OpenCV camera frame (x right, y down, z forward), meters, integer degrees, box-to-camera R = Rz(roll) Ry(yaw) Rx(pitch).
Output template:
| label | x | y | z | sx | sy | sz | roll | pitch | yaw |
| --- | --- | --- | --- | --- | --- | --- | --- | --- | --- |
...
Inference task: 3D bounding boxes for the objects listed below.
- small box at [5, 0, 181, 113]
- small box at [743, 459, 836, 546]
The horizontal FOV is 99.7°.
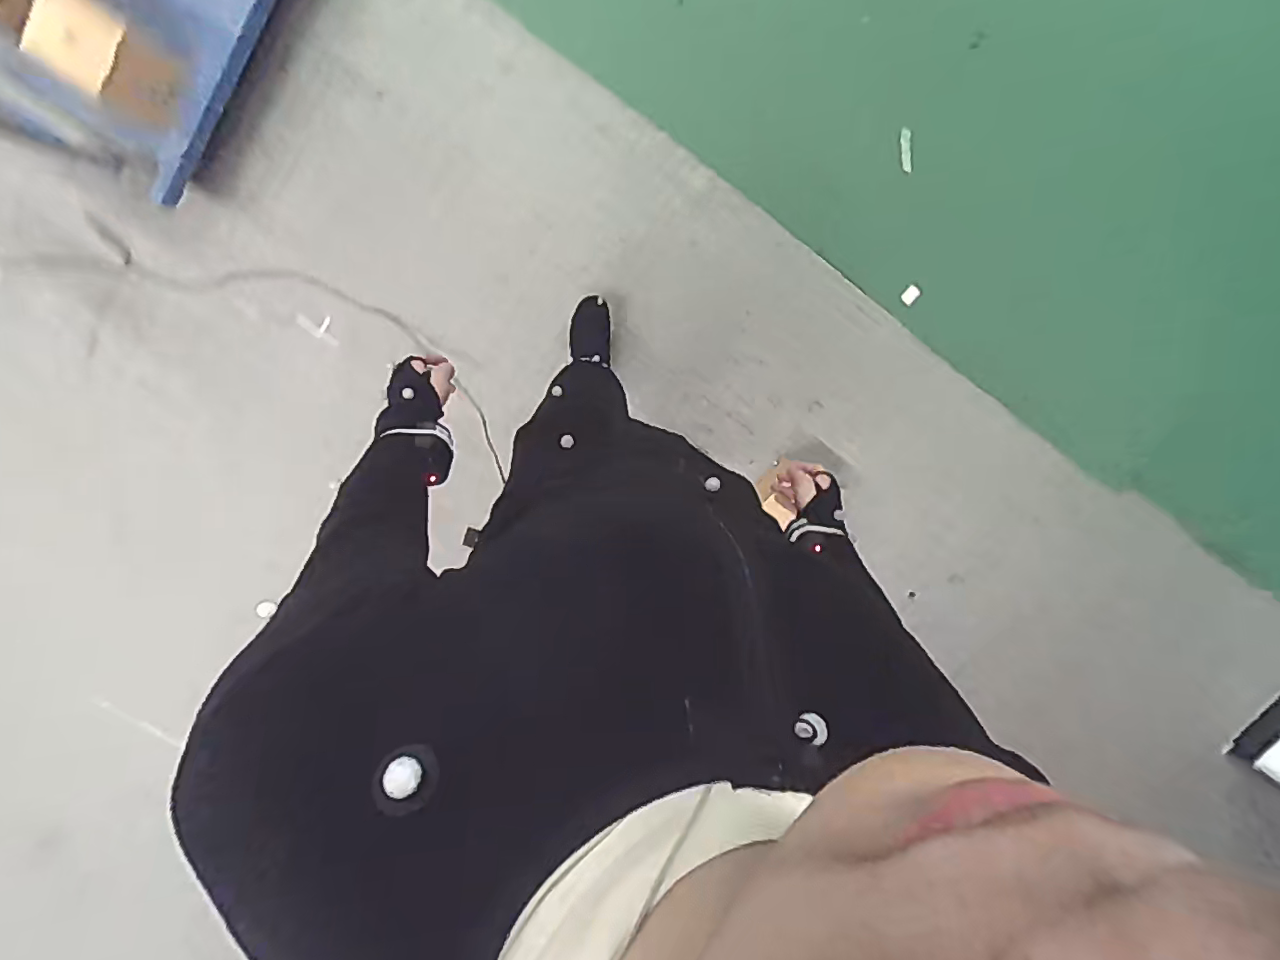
| label | x | y | z | sx | sy | sz | roll | pitch | yaw |
| --- | --- | --- | --- | --- | --- | --- | --- | --- | --- |
| small box | -1.176 | -0.948 | 1.180 | 0.179 | 0.176 | 0.168 | -22 | 103 | 6 |
| small box | 0.423 | 0.056 | 1.565 | 0.179 | 0.176 | 0.168 | 40 | 100 | -8 |
